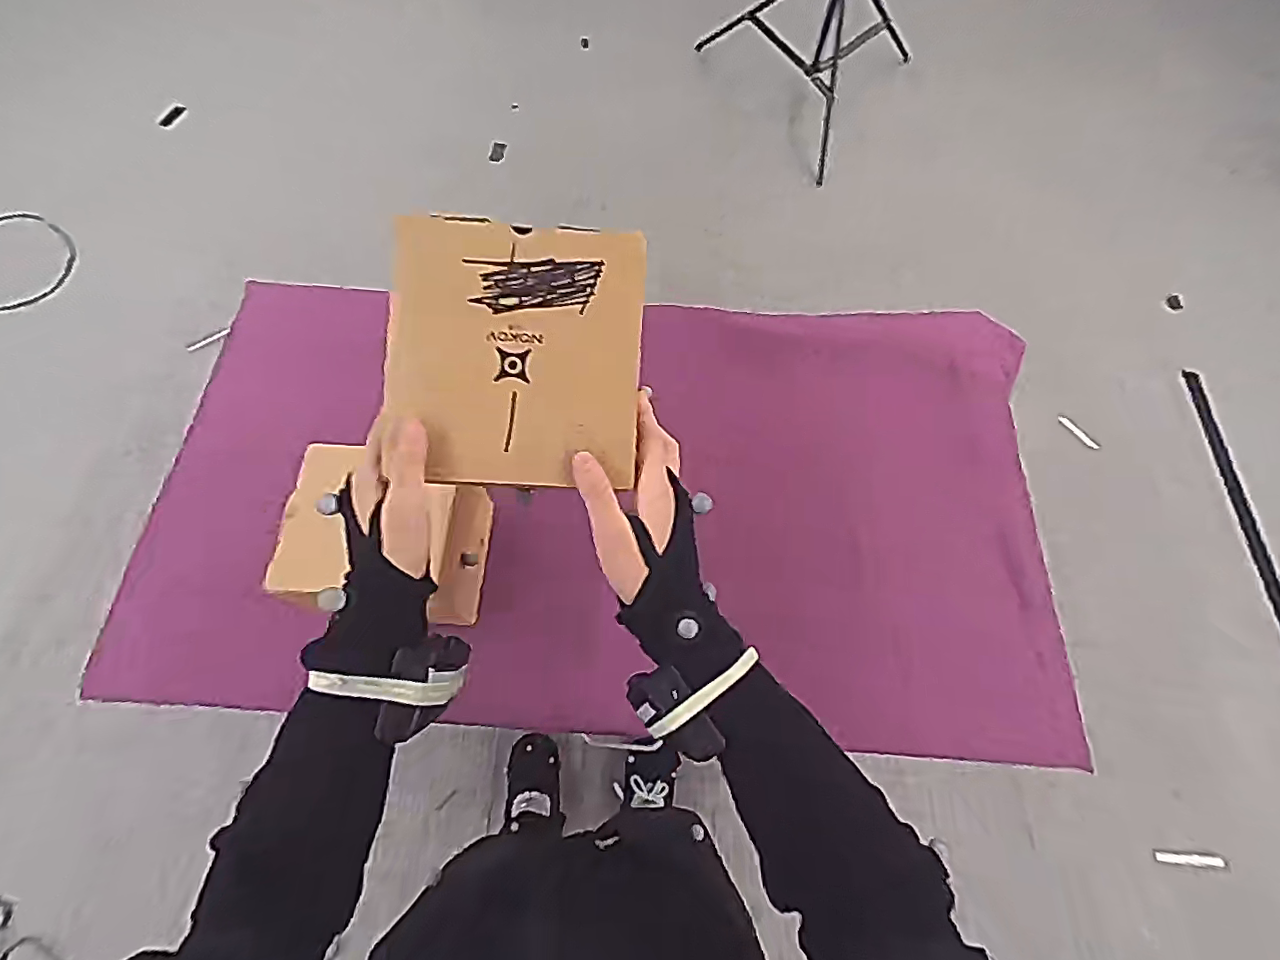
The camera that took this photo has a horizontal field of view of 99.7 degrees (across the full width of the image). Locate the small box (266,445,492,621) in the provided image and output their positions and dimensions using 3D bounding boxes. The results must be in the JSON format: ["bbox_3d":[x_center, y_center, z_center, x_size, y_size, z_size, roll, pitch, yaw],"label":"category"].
[{"bbox_3d":[-0.288,0.072,0.647,0.179,0.176,0.168,3,67,0],"label":"small box"}]

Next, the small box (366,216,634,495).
[{"bbox_3d":[-0.096,-0.080,0.435,0.168,0.176,0.179,3,89,-4],"label":"small box"}]
